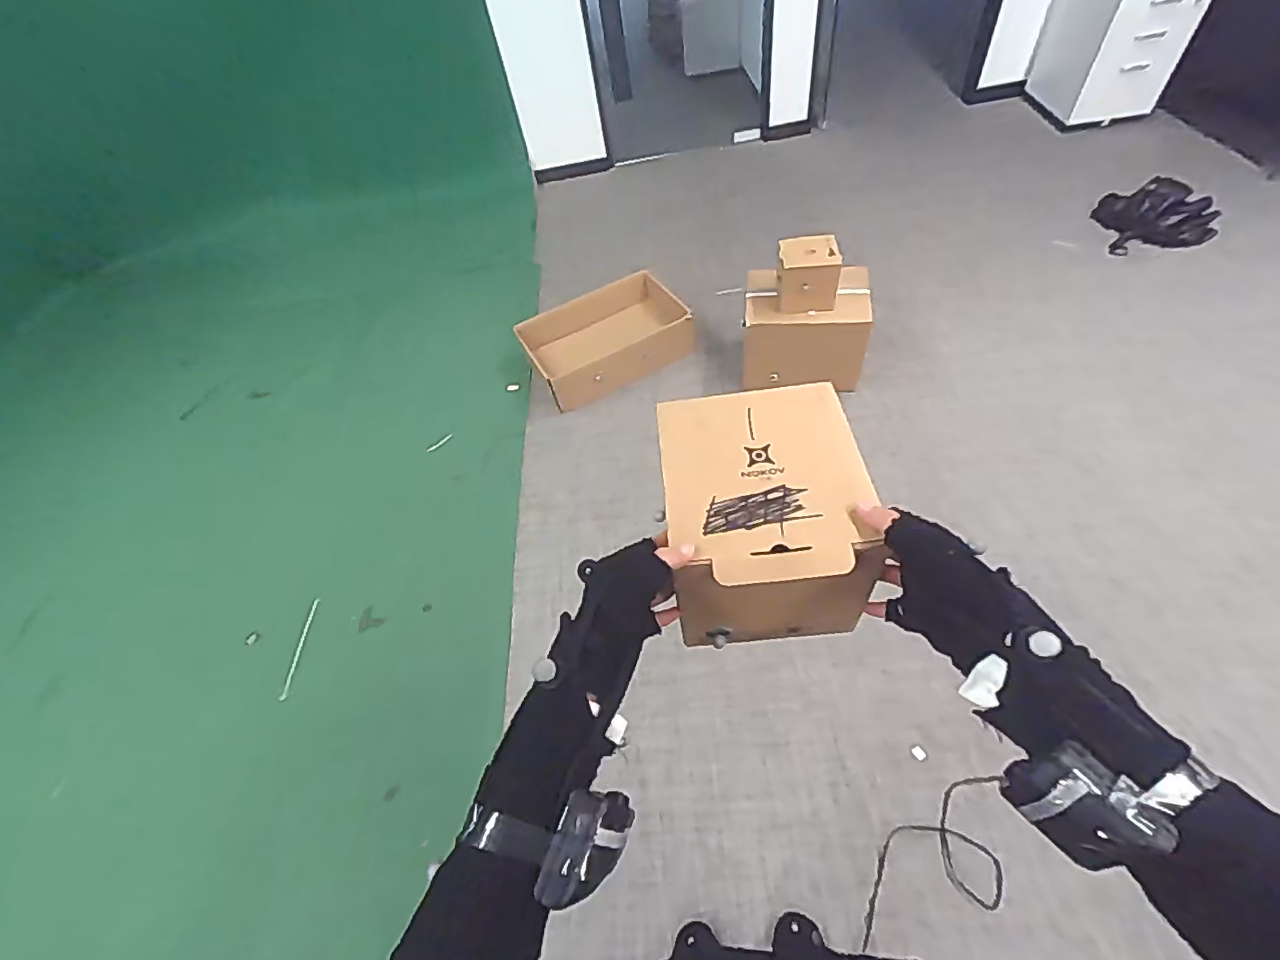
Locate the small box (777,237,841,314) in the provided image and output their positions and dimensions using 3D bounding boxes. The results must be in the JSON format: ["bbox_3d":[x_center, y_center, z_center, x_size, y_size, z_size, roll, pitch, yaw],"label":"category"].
[{"bbox_3d":[0.541,-0.659,1.758,0.179,0.176,0.168,-3,53,9],"label":"small box"}]

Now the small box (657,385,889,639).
[{"bbox_3d":[0.111,0.039,0.513,0.168,0.176,0.179,-7,51,4],"label":"small box"}]
